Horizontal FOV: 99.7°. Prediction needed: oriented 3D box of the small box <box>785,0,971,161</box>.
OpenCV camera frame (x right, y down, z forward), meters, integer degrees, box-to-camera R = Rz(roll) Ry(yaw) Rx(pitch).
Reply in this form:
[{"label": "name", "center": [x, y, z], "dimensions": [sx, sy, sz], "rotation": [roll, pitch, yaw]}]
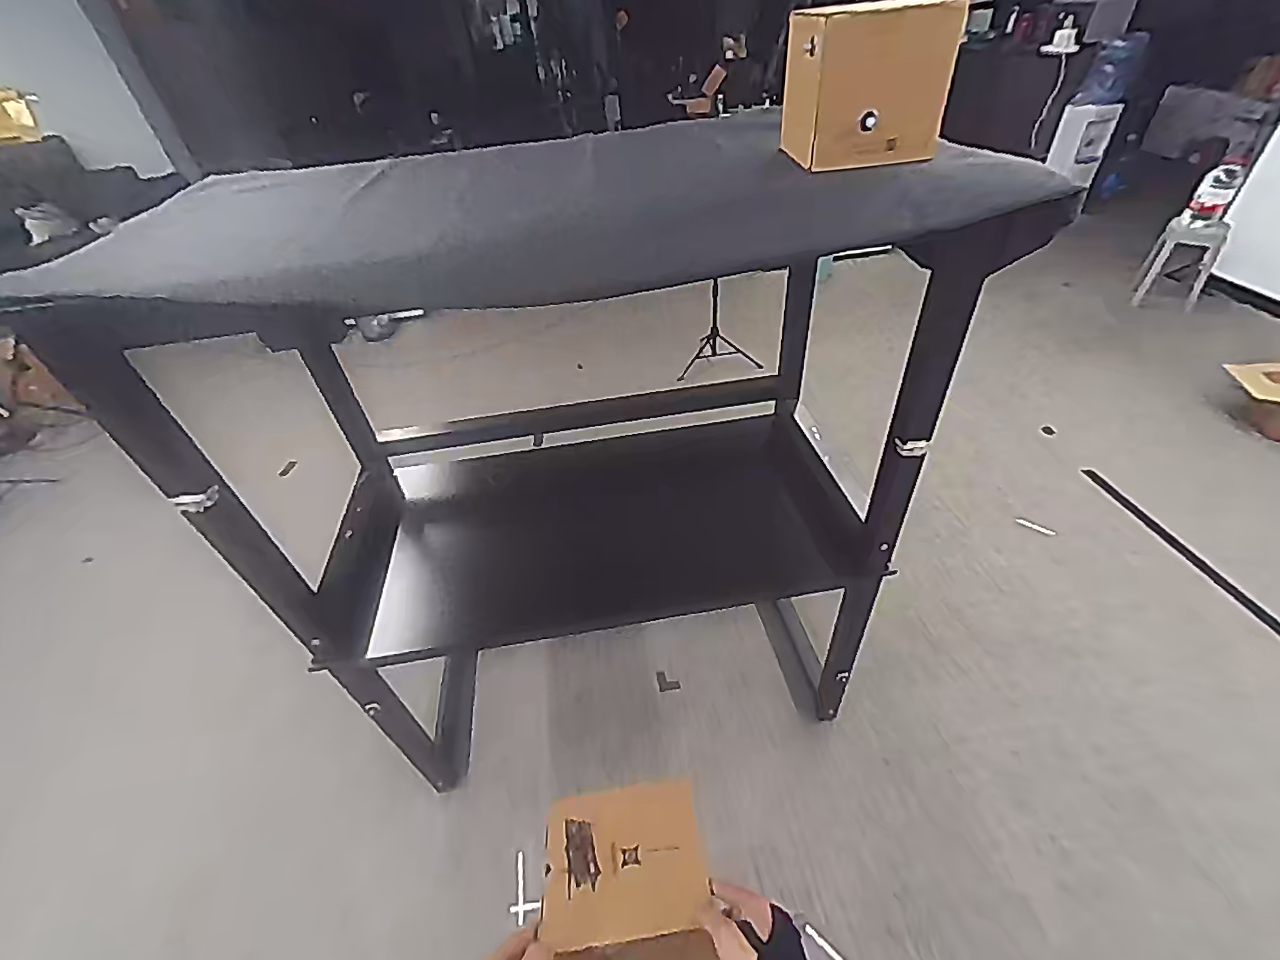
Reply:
[{"label": "small box", "center": [0.301, -0.545, 0.730], "dimensions": [0.168, 0.176, 0.179], "rotation": [-5, 42, 1]}]
